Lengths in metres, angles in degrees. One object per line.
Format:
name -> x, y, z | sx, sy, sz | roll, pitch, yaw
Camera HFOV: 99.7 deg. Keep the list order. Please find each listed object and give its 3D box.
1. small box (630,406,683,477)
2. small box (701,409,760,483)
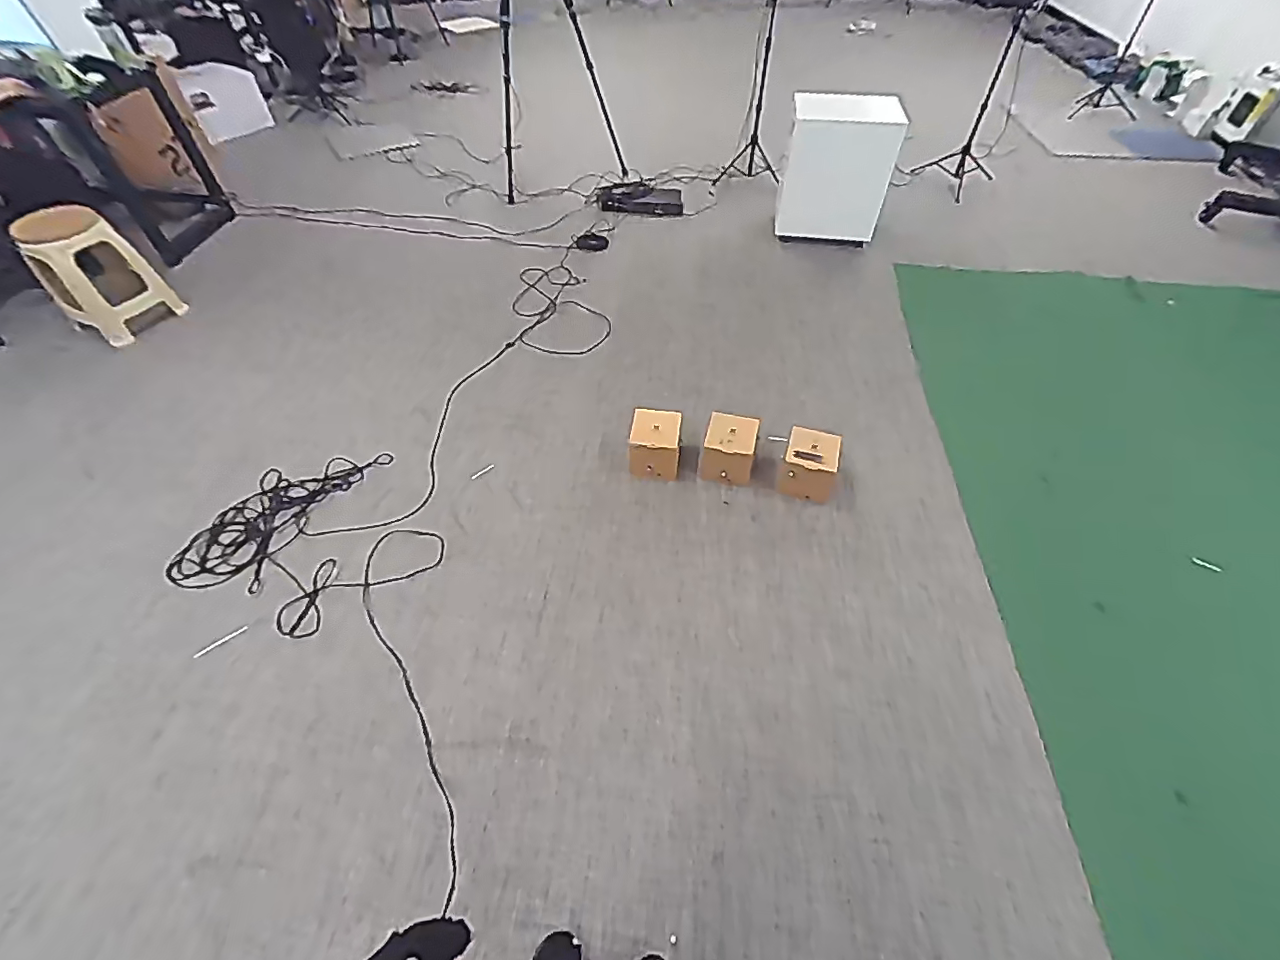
small box -> 0.058, -0.135, 1.908 | 0.168, 0.176, 0.179 | 6, 51, 5
small box -> 0.314, -0.117, 1.890 | 0.168, 0.176, 0.179 | 12, 52, 10
